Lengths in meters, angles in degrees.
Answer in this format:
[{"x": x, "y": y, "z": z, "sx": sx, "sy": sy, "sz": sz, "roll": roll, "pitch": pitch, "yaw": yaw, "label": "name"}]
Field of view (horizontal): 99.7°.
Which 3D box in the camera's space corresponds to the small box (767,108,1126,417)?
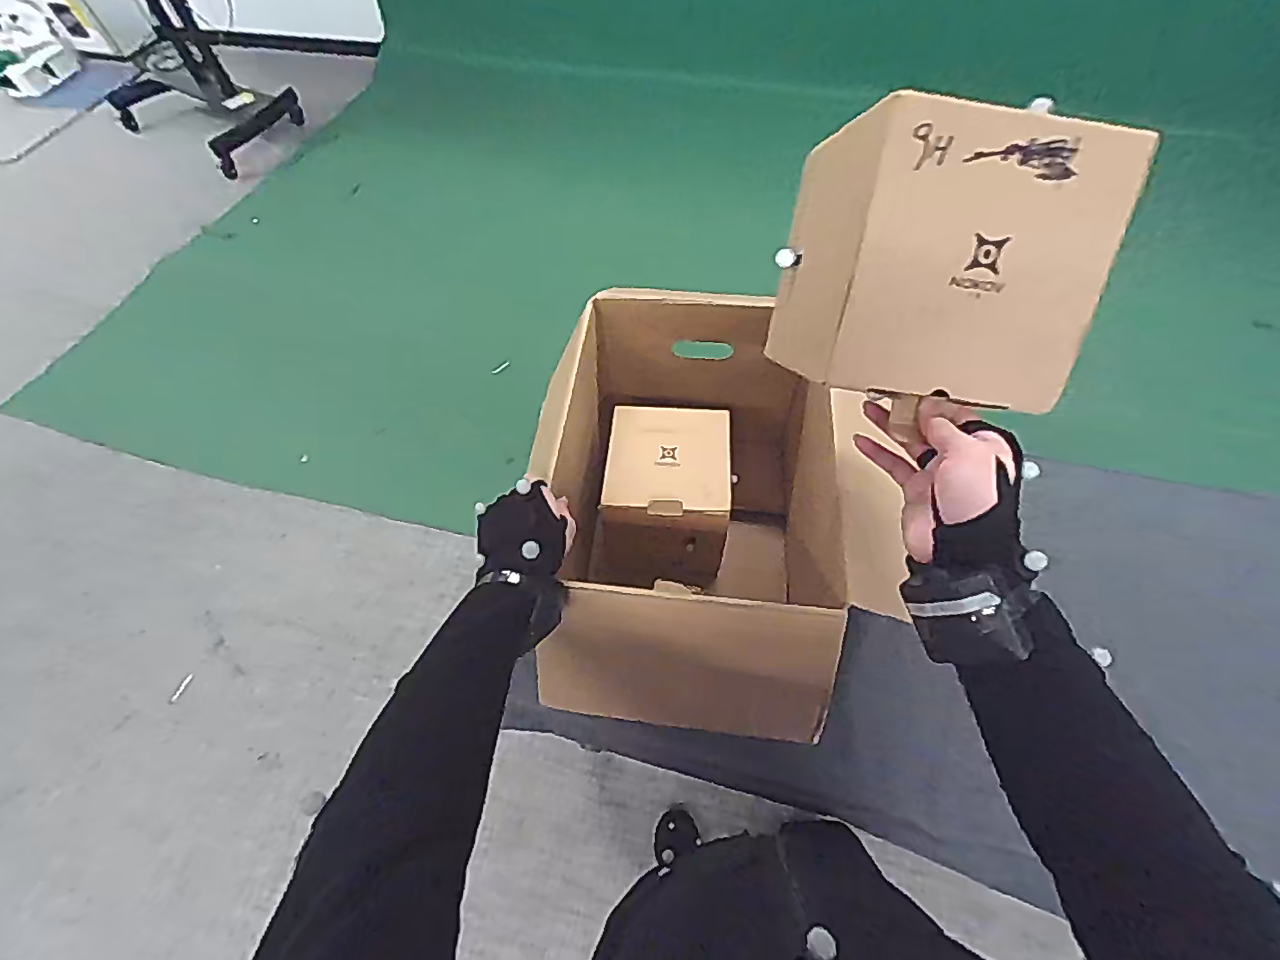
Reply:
[{"x": 0.210, "y": -0.162, "z": 0.433, "sx": 0.168, "sy": 0.179, "sz": 0.176, "roll": 6, "pitch": 19, "yaw": -4, "label": "small box"}]
